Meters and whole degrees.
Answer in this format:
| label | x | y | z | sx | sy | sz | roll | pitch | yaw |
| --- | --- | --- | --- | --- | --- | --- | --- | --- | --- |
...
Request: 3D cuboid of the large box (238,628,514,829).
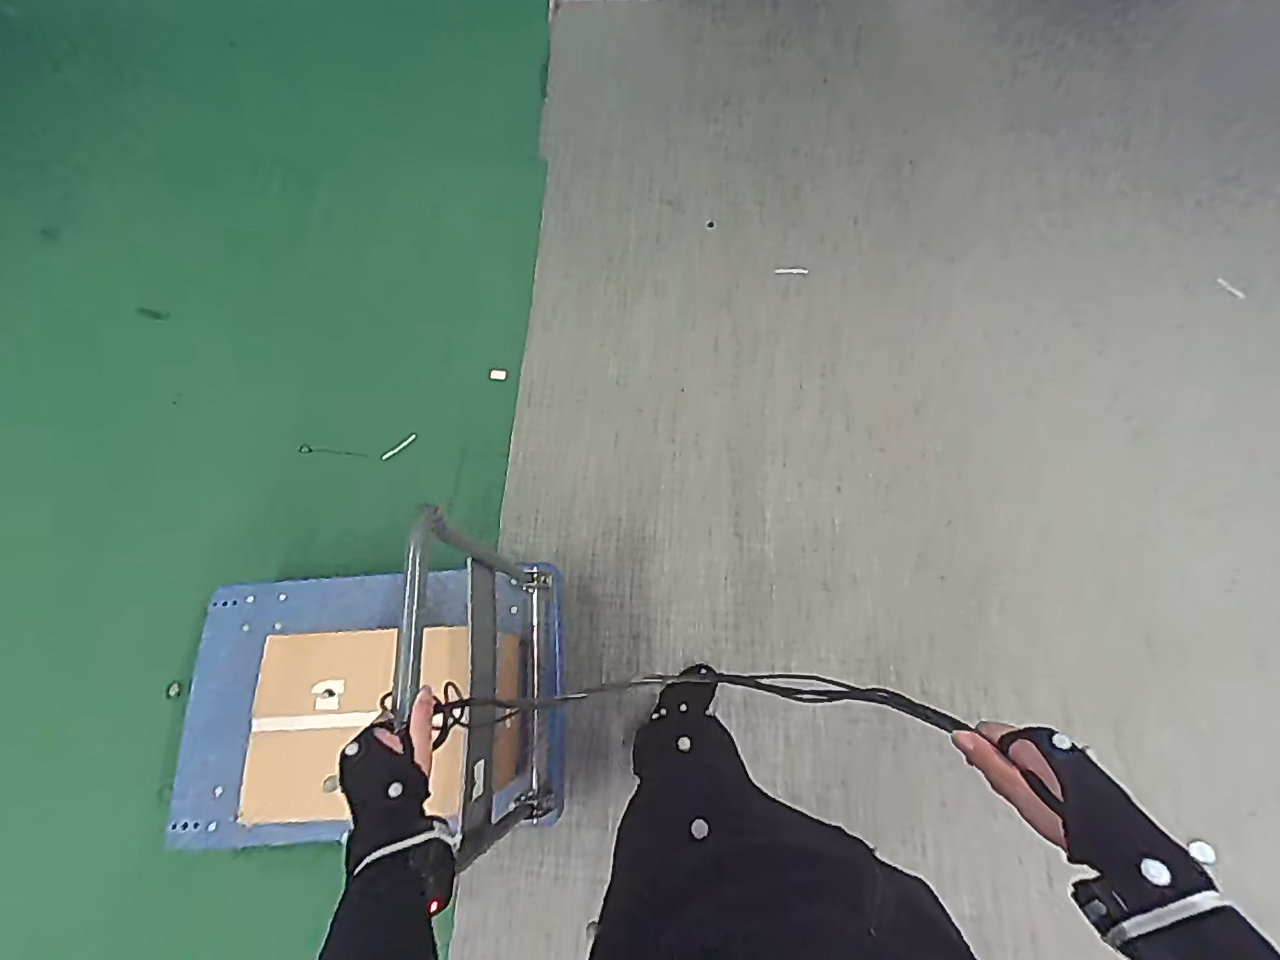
| label | x | y | z | sx | sy | sz | roll | pitch | yaw |
| --- | --- | --- | --- | --- | --- | --- | --- | --- | --- |
| large box | -0.490 | 0.483 | 1.104 | 0.408 | 0.320 | 0.320 | -3 | 71 | 1 |
